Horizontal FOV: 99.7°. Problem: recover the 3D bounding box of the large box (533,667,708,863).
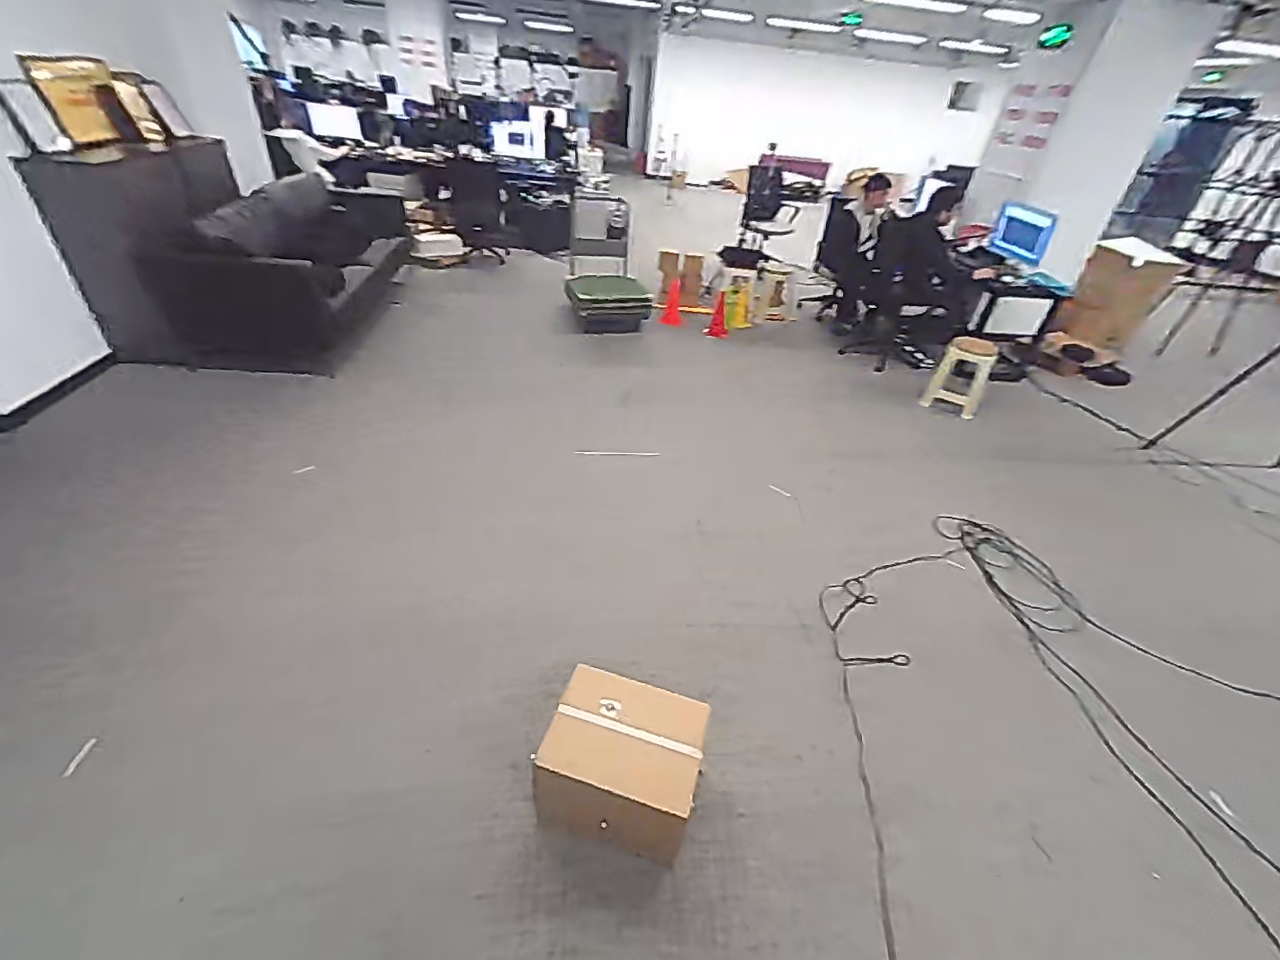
[{"bbox_3d":[-0.046,0.793,1.517,0.408,0.320,0.320,13,36,11],"label":"large box"}]
